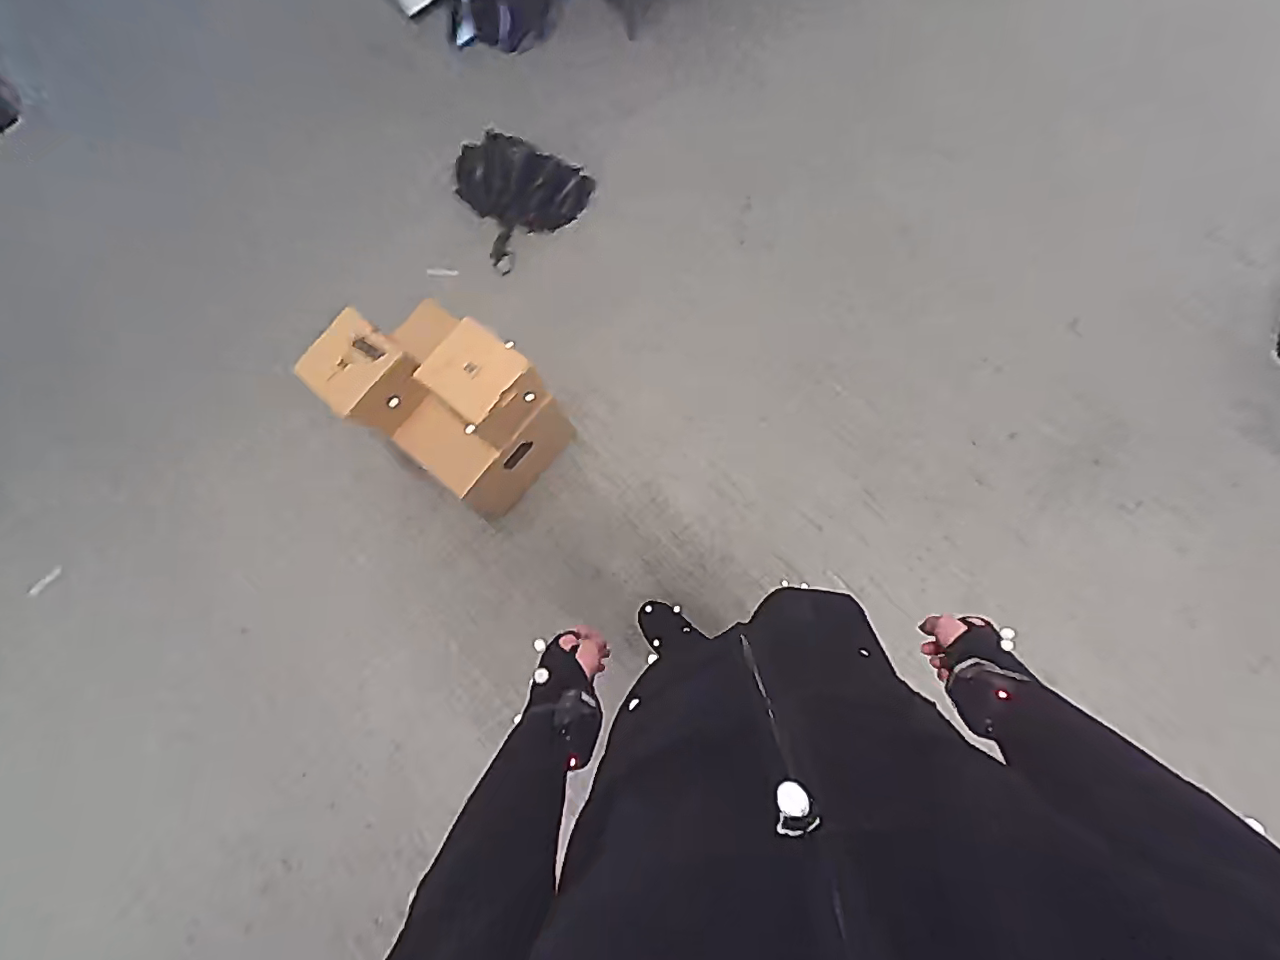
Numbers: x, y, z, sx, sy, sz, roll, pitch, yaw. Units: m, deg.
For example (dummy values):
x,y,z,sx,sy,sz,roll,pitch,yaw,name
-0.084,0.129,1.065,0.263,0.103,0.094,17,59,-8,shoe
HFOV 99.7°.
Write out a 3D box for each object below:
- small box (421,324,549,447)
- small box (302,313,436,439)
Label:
x,y,z,sx,sy,sz,roll,pitch,yaw,name
-0.316,-0.188,1.147,0.179,0.176,0.168,36,80,11,small box
-0.565,-0.216,1.168,0.168,0.176,0.179,41,87,11,small box
